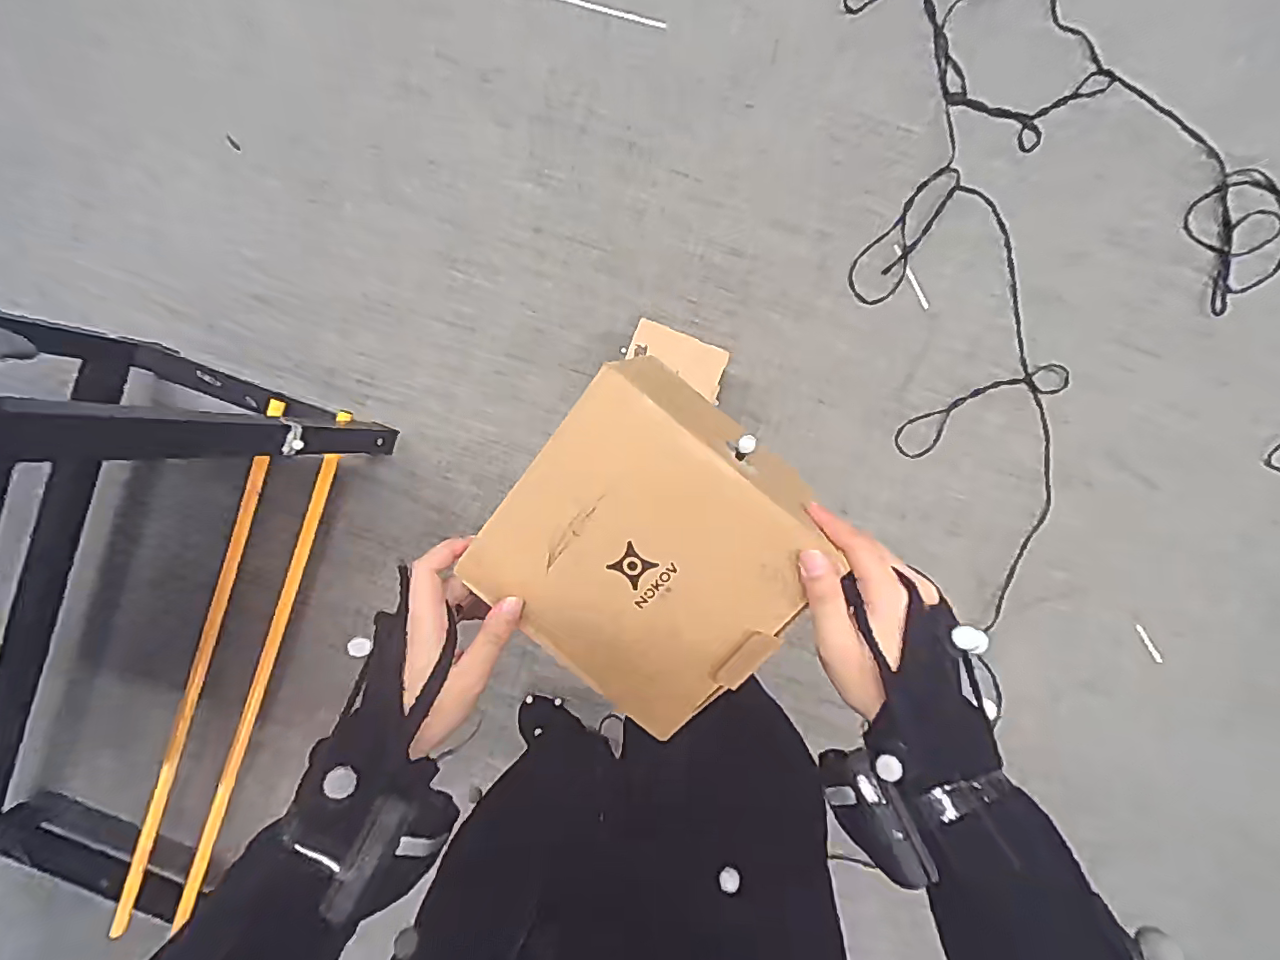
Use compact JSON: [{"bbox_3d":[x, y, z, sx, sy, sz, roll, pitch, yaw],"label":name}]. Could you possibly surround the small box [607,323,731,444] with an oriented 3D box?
[{"bbox_3d":[0.055,-0.179,1.038,0.179,0.176,0.168,23,95,1],"label":"small box"}]
